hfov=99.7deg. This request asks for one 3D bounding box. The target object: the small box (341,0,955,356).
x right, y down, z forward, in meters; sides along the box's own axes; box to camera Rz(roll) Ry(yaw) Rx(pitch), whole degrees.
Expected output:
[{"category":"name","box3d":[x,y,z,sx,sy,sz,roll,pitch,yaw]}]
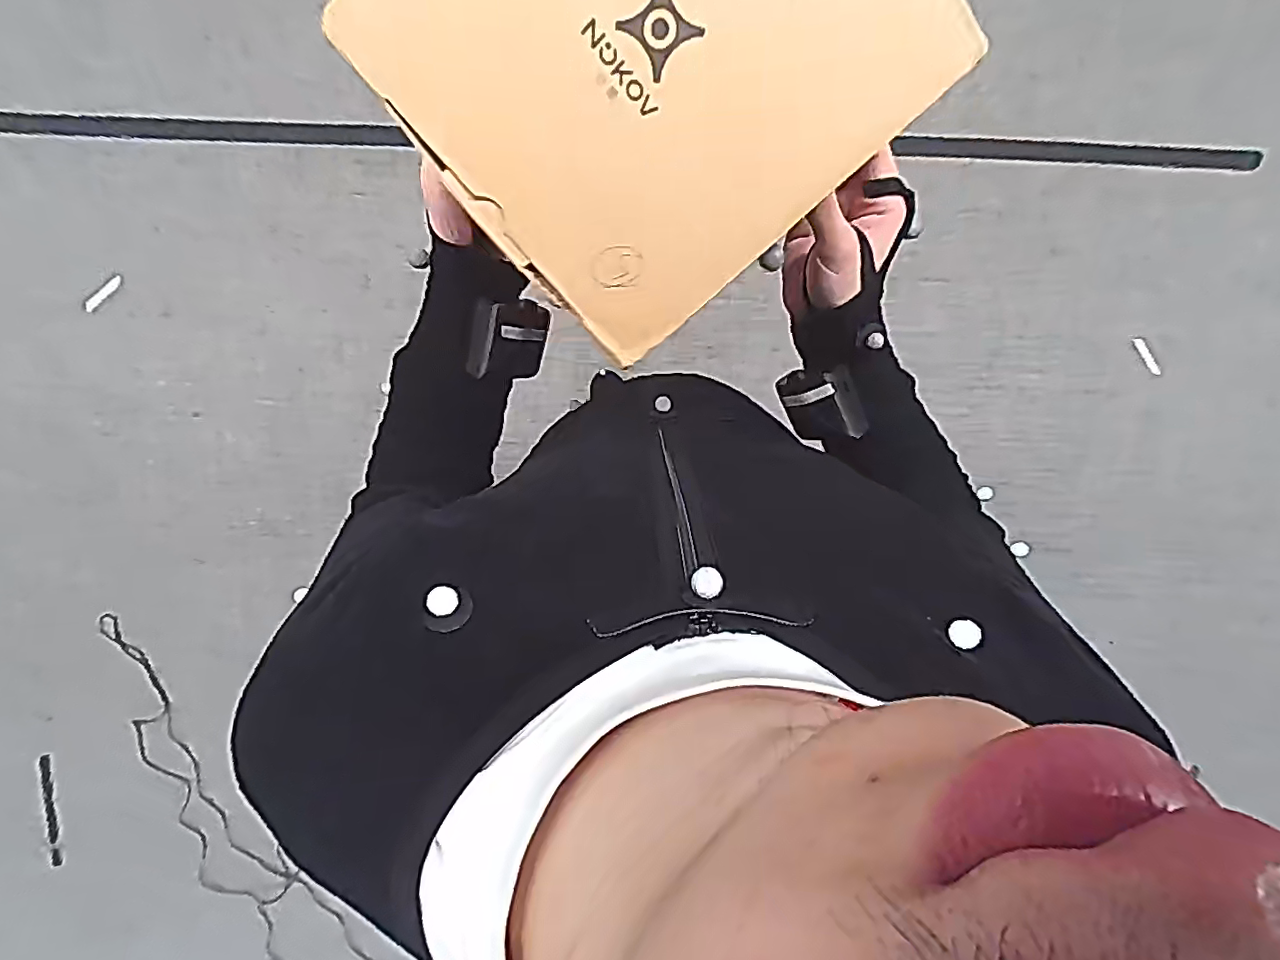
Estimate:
[{"category":"small box","box3d":[0.004,-0.192,0.277,0.179,0.176,0.168,-40,107,15]}]
